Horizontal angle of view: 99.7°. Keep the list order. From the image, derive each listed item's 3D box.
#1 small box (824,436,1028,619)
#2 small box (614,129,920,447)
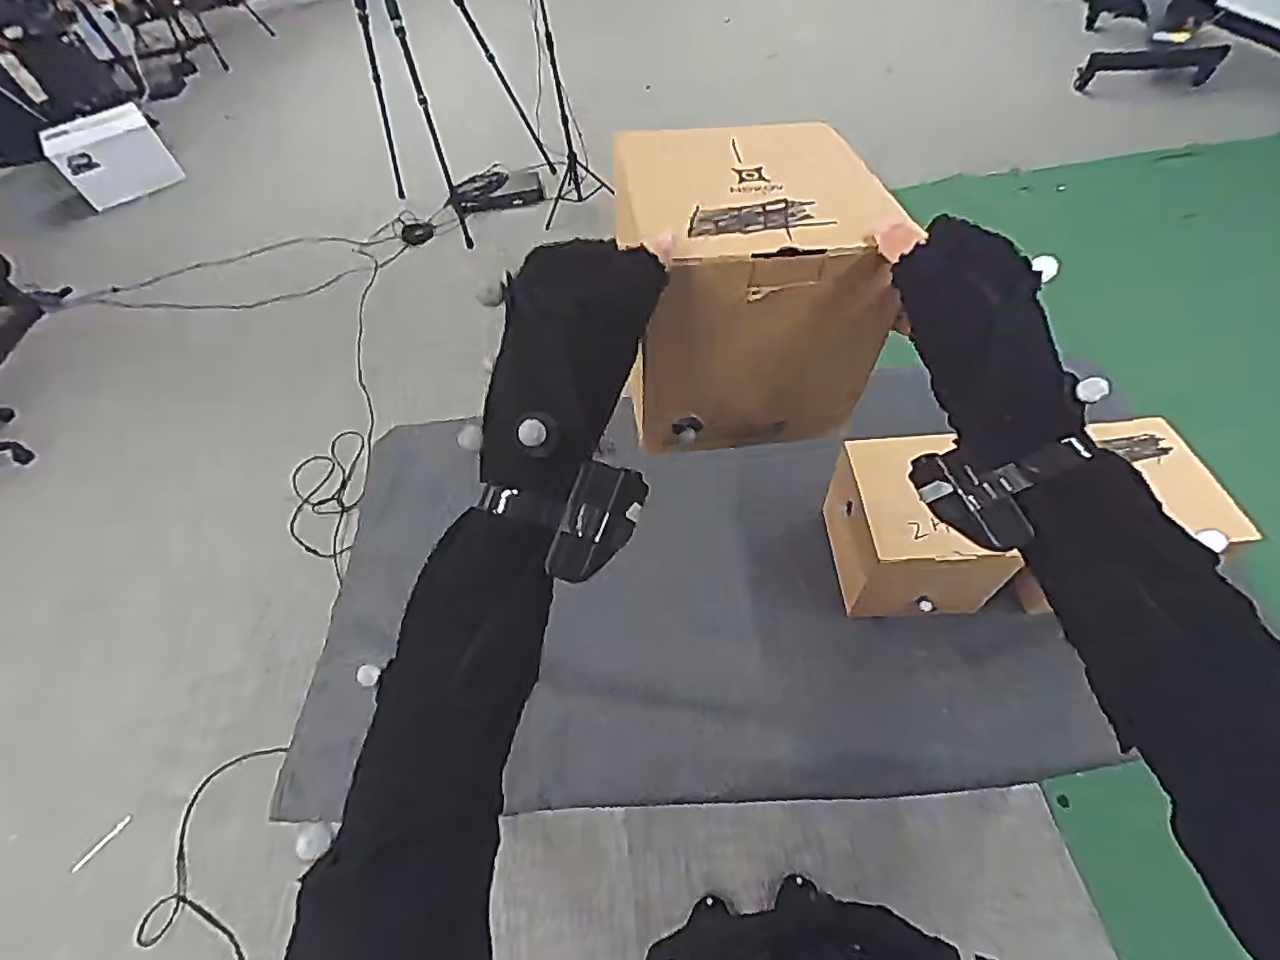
[{"bbox_3d":[0.349,0.065,0.704,0.168,0.176,0.179,-4,54,5],"label":"small box"},{"bbox_3d":[0.073,-0.139,0.417,0.168,0.176,0.179,-6,52,-4],"label":"small box"}]
